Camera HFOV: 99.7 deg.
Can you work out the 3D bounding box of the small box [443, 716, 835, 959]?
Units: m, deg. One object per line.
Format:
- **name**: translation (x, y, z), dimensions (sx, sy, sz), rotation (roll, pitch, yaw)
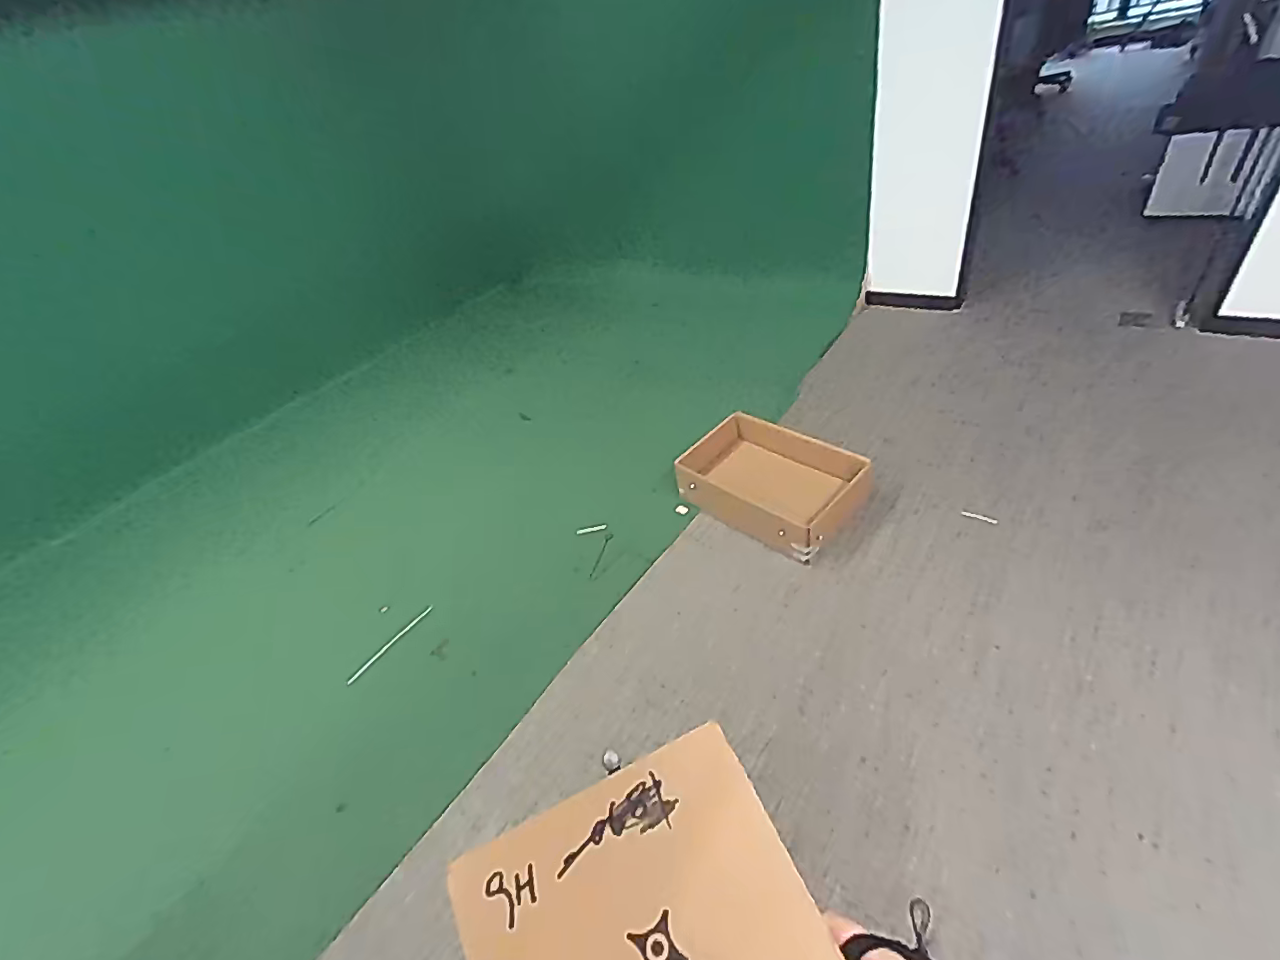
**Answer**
- **small box**: translation (0.000, 0.276, 0.332), dimensions (0.168, 0.176, 0.179), rotation (-20, 61, -18)
